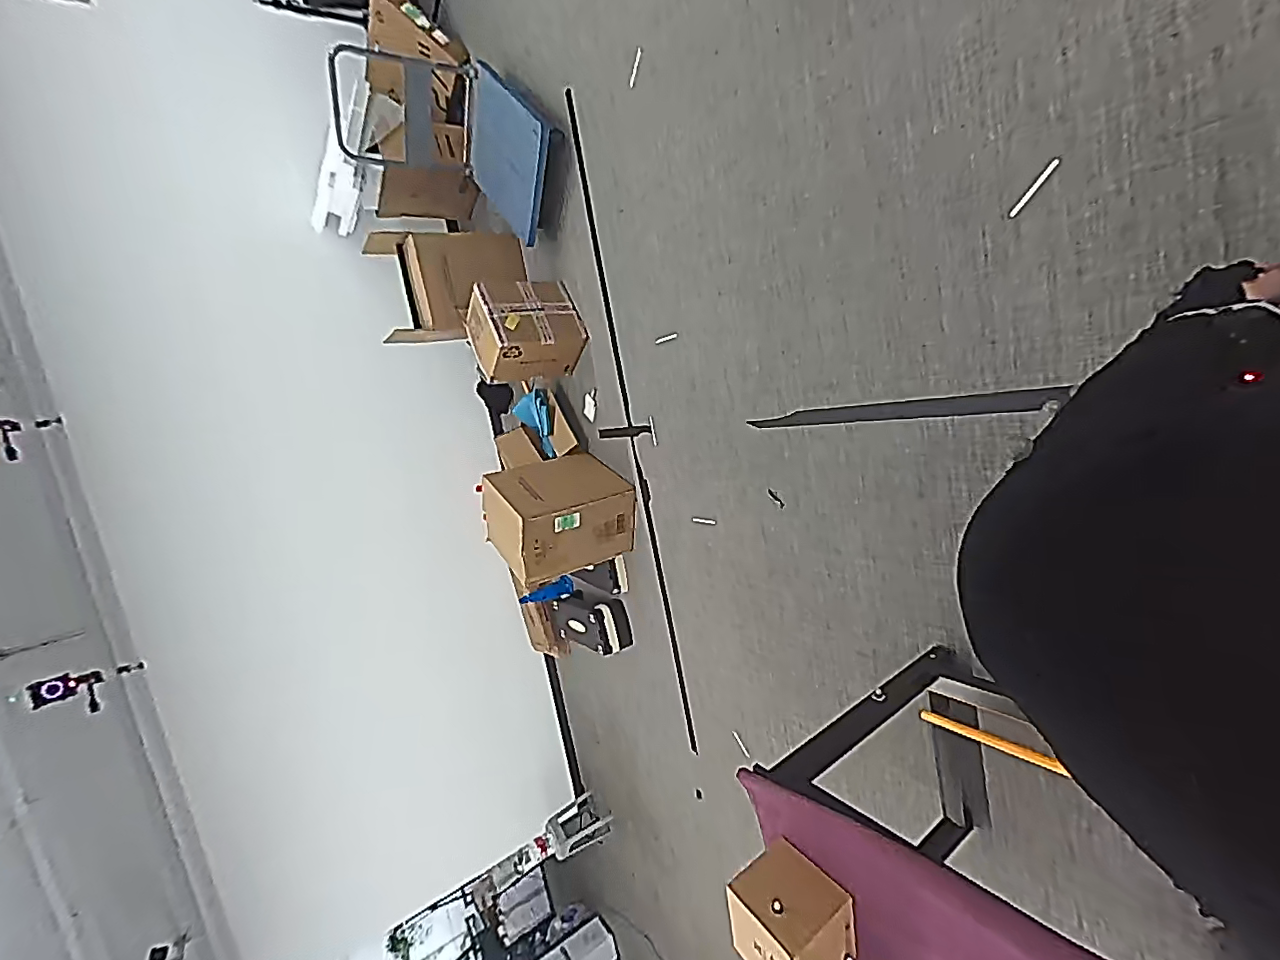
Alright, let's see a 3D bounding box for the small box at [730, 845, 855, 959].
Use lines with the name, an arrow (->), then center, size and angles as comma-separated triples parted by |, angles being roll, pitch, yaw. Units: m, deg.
small box -> 0.305, 0.874, 1.063 | 0.179, 0.176, 0.168 | 12, 115, 56
